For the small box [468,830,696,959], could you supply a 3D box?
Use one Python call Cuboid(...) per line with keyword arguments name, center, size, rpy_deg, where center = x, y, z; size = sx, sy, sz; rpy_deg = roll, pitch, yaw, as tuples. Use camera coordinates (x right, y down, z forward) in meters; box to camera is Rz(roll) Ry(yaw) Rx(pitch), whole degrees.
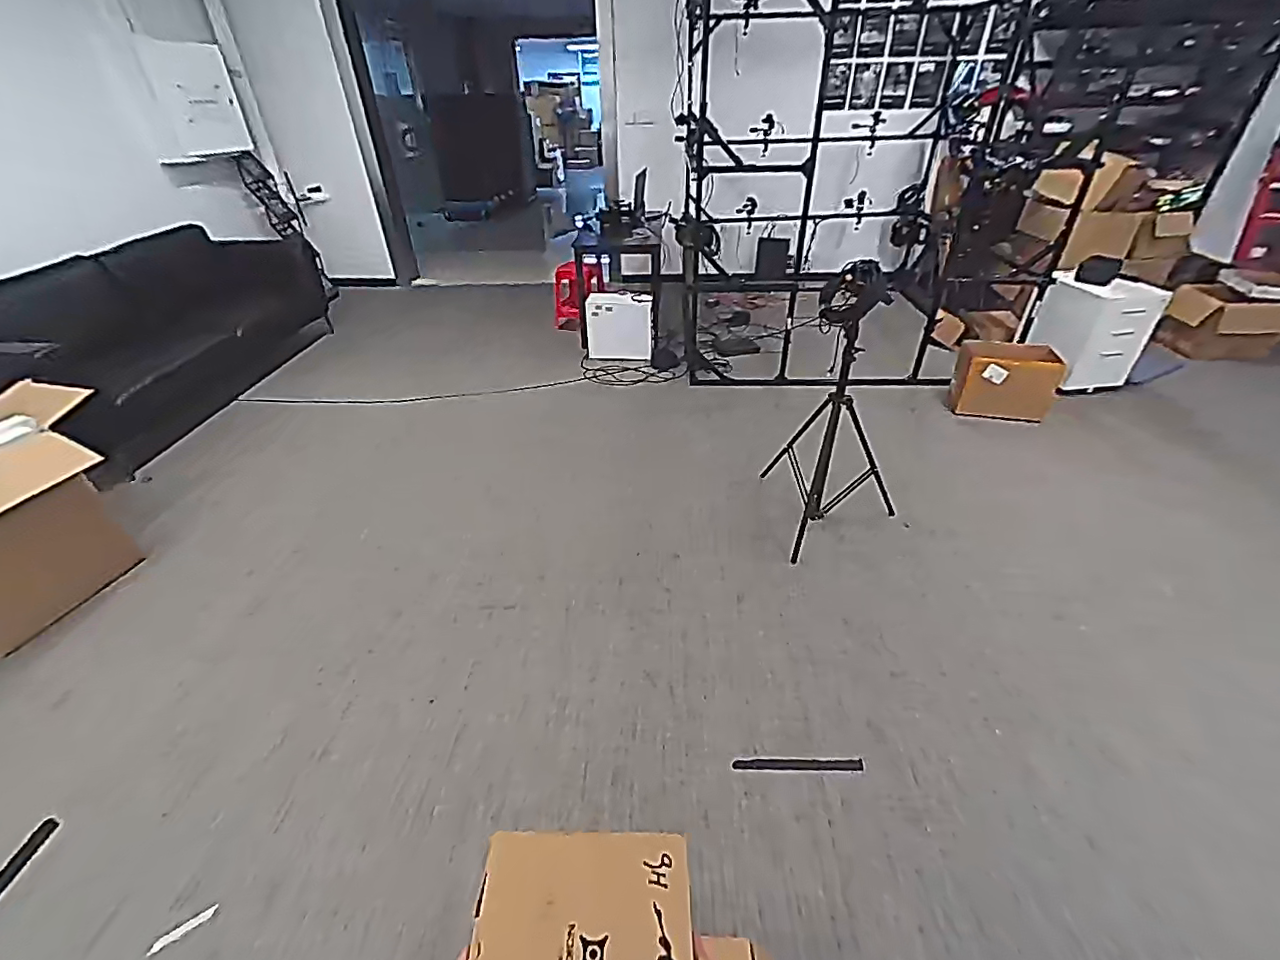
Cuboid(name="small box", center=(-0.046, 0.423, 0.463), size=(0.179, 0.176, 0.168), rpy_deg=(2, 40, -2))
